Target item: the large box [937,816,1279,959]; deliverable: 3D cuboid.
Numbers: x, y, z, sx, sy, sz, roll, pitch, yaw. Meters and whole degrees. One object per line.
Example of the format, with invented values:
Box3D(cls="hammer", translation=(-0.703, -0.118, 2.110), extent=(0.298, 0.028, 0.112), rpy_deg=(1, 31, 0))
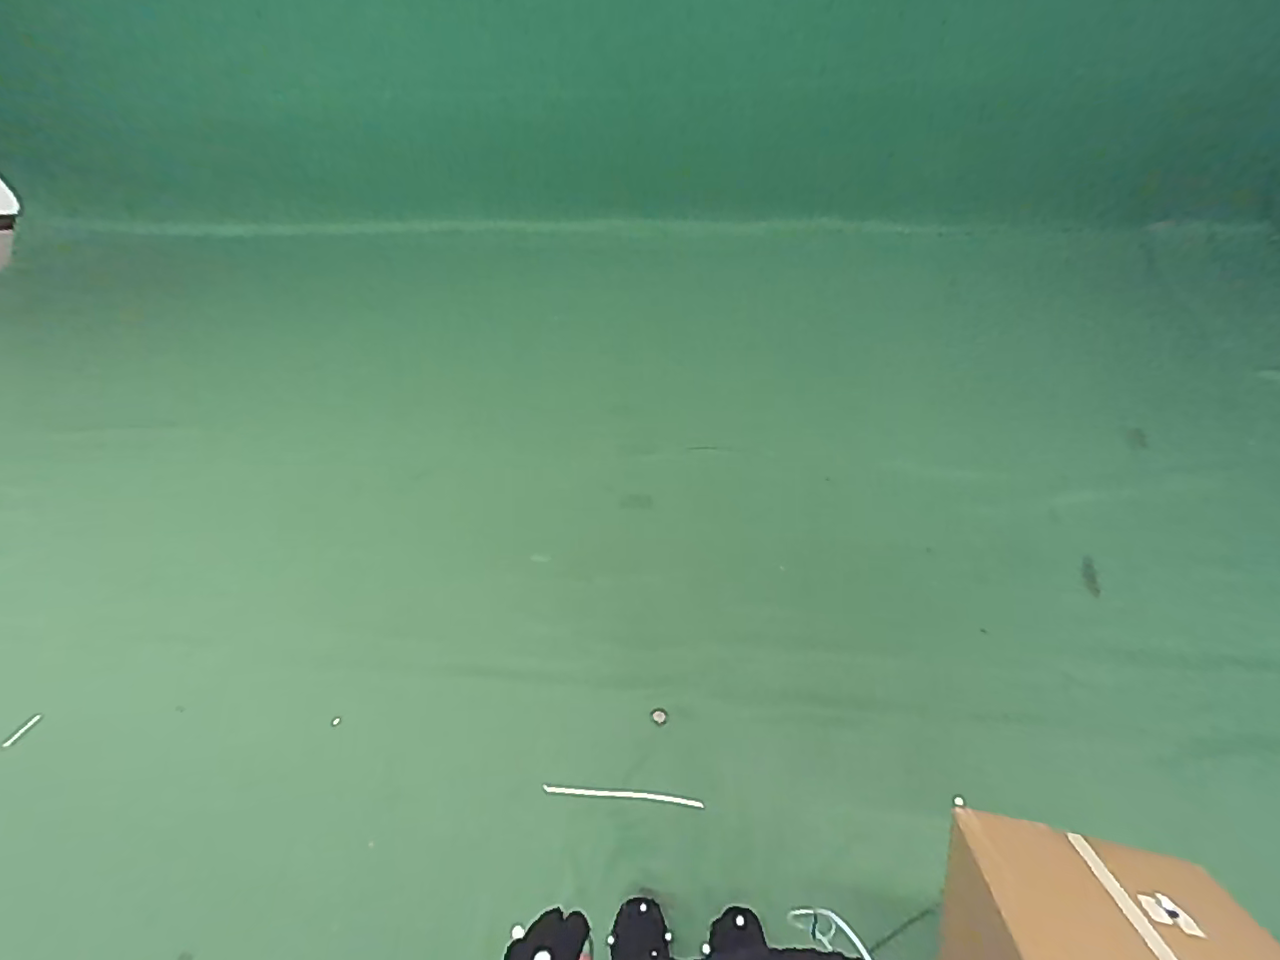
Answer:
Box3D(cls="large box", translation=(0.563, 0.684, 0.611), extent=(0.320, 0.408, 0.320), rpy_deg=(7, 92, 15))
